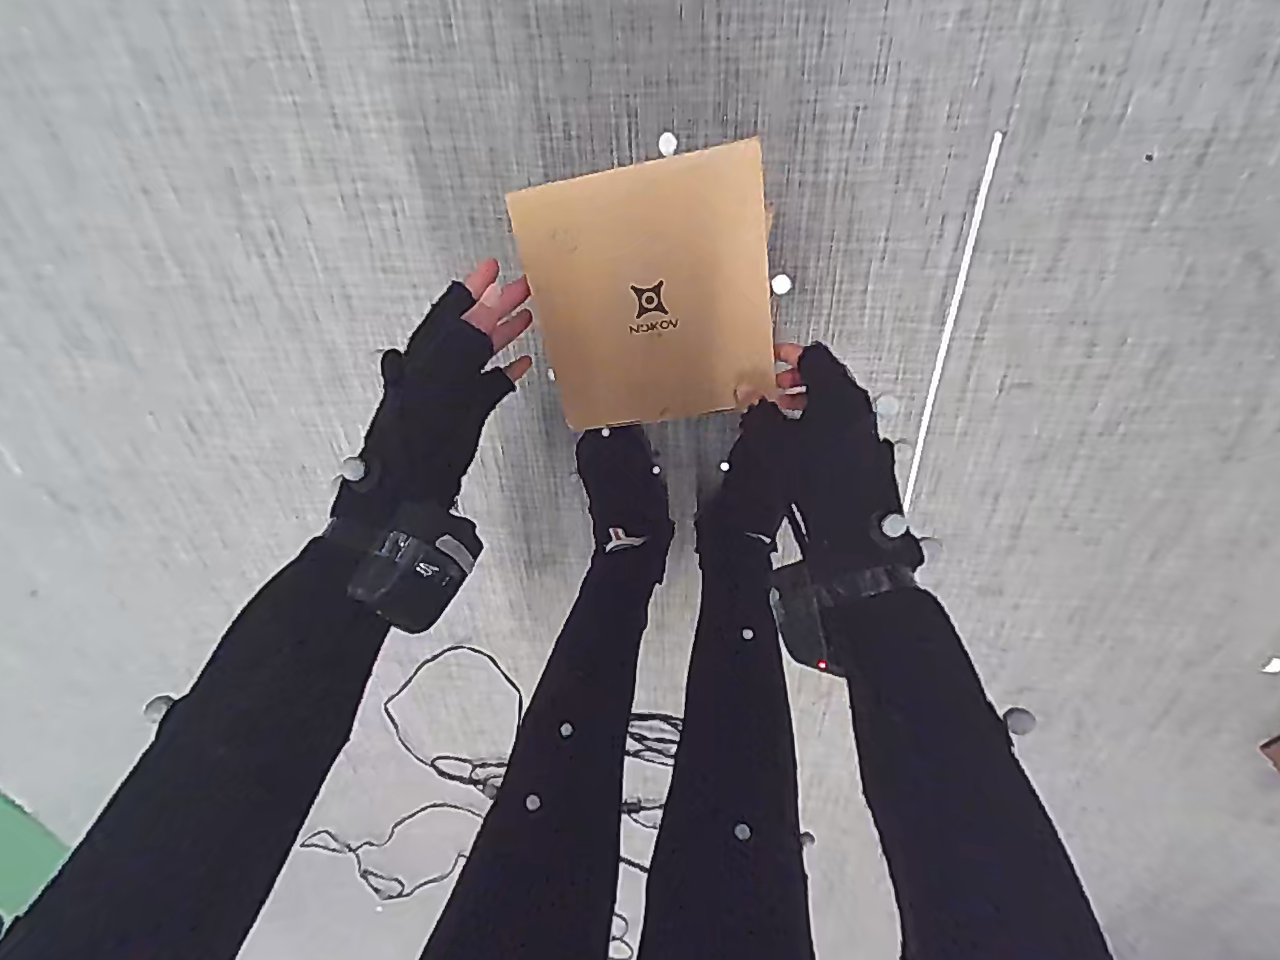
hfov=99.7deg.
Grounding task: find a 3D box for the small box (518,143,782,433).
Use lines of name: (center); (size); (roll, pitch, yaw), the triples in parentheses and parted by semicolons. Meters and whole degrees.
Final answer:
small box: (0.020, -0.160, 0.445); (0.168, 0.176, 0.179); (-6, 121, 11)
